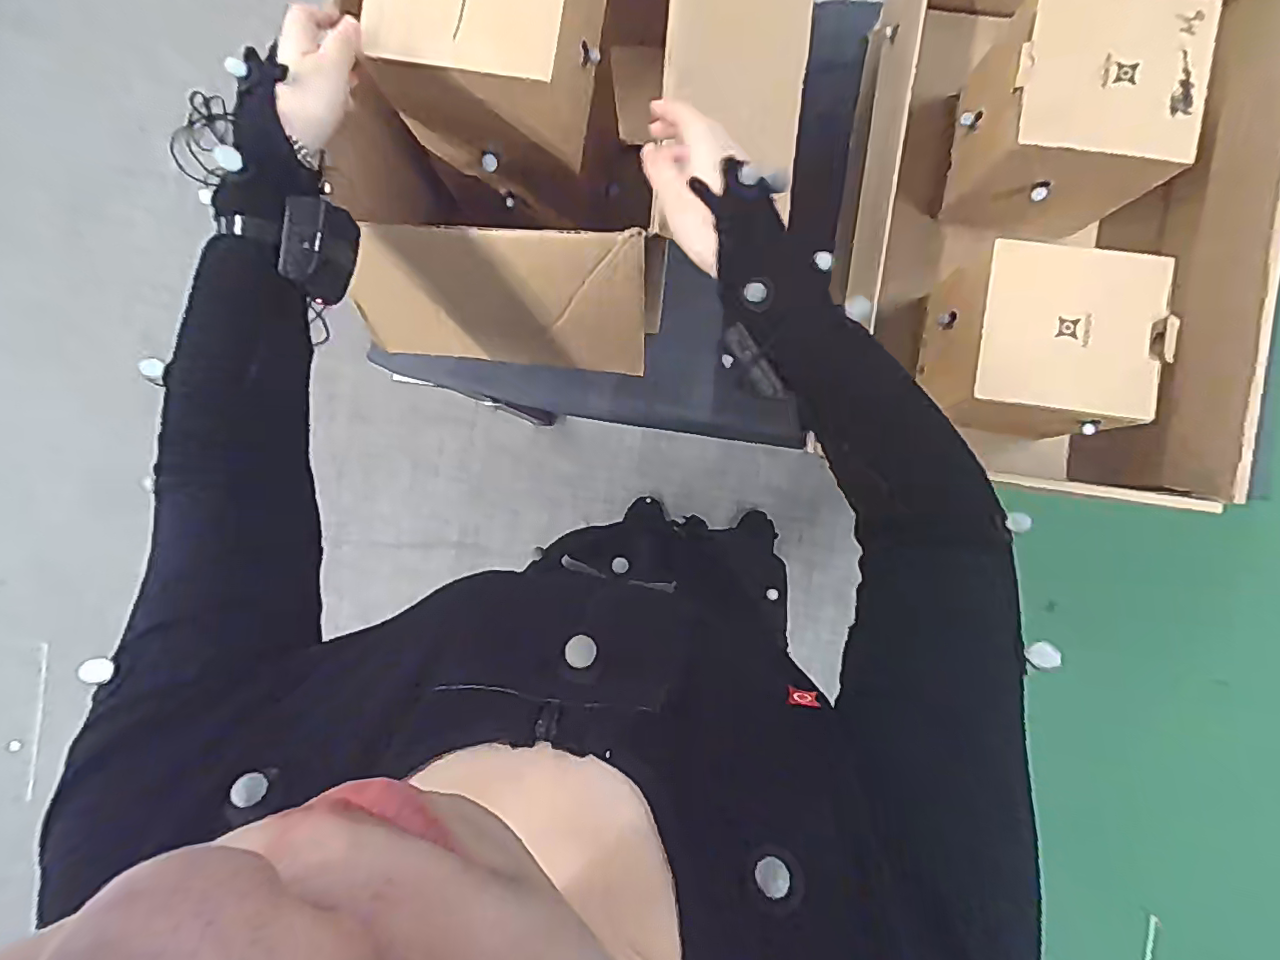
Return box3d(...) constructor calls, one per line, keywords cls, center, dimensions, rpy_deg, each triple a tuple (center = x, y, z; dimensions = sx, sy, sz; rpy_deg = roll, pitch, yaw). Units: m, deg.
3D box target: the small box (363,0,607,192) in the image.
box3d(cls="small box", center=(-0.129, -0.415, 0.518), dimensions=(0.168, 0.176, 0.179), rpy_deg=(10, 92, 2))
